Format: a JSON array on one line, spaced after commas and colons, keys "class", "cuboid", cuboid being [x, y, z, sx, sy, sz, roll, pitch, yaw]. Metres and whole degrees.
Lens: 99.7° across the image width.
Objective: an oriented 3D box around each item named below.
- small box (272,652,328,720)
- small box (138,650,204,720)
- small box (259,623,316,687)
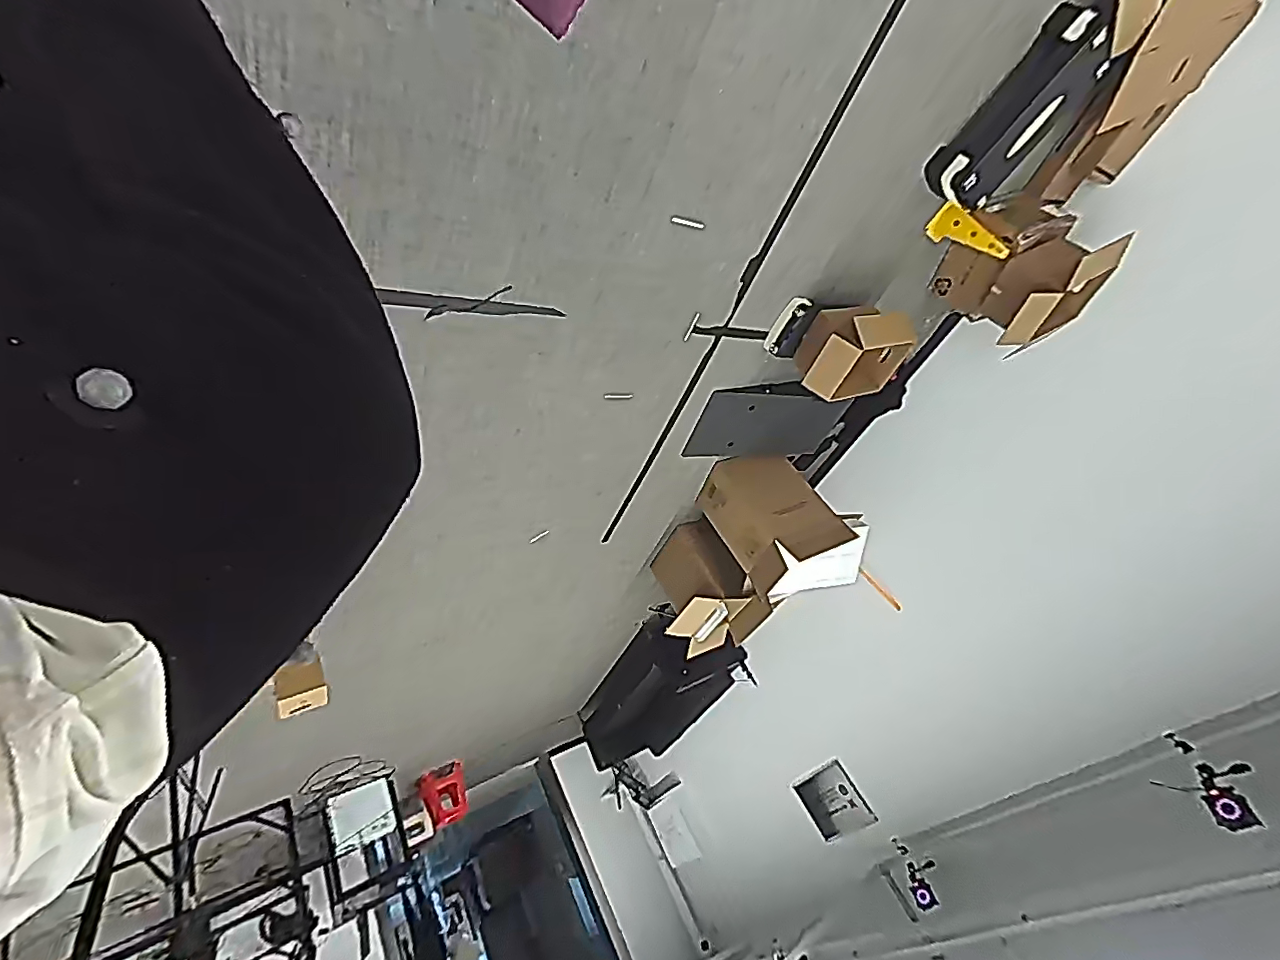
[{"class": "small box", "cuboid": [-1.359, 0.822, 2.163, 0.168, 0.176, 0.179, -11, 143, -37]}, {"class": "small box", "cuboid": [-1.752, 0.759, 2.020, 0.179, 0.176, 0.168, -4, 139, -41]}, {"class": "small box", "cuboid": [-1.460, 0.721, 2.250, 0.179, 0.176, 0.168, -13, 144, -33]}]
